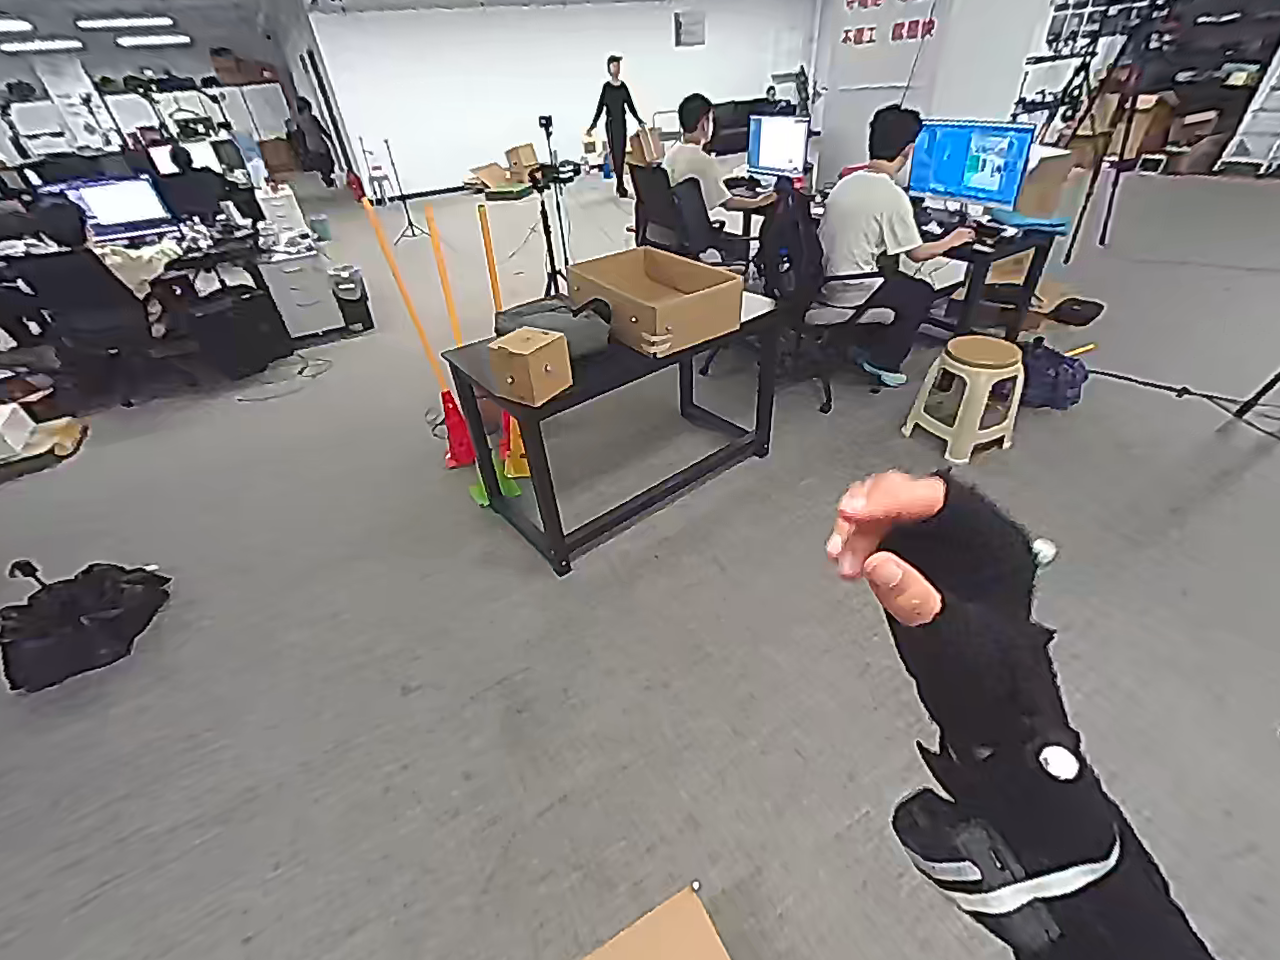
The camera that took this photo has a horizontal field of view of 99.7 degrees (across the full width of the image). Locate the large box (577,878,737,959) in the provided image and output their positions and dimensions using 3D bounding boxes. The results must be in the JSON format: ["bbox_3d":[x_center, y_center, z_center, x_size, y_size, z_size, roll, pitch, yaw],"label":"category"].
[{"bbox_3d":[0.012,1.013,0.929,0.408,0.320,0.320,-22,40,-20],"label":"large box"}]
